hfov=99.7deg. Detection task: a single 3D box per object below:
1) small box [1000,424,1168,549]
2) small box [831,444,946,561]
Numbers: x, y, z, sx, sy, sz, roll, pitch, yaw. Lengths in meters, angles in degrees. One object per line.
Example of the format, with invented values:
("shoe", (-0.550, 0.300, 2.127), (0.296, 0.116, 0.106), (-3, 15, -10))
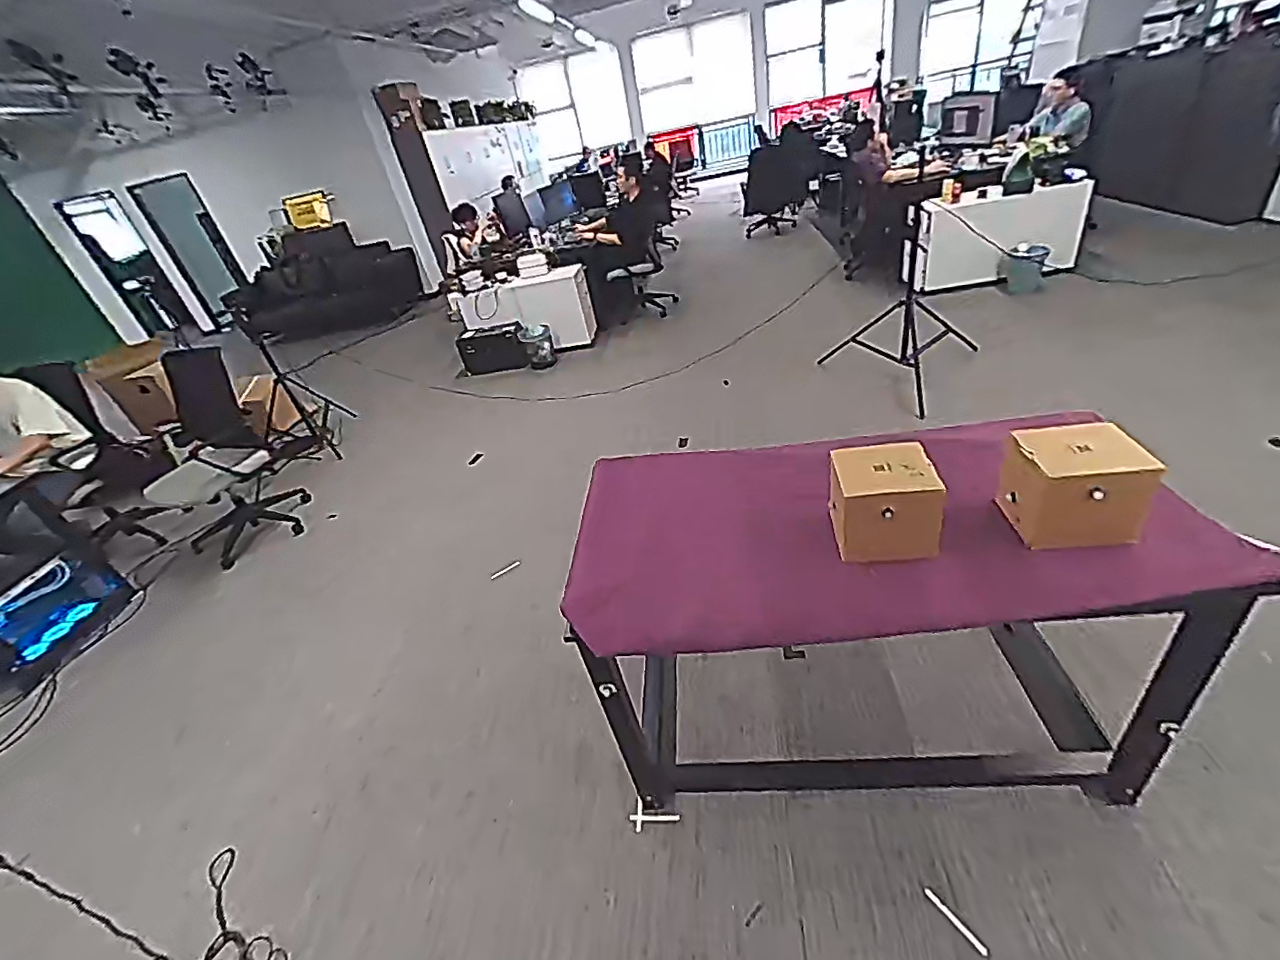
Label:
("small box", (0.812, 0.014, 1.013), (0.179, 0.176, 0.168), (-6, 33, 13))
("small box", (0.485, 0.047, 1.079), (0.179, 0.176, 0.168), (-5, 34, 12))
